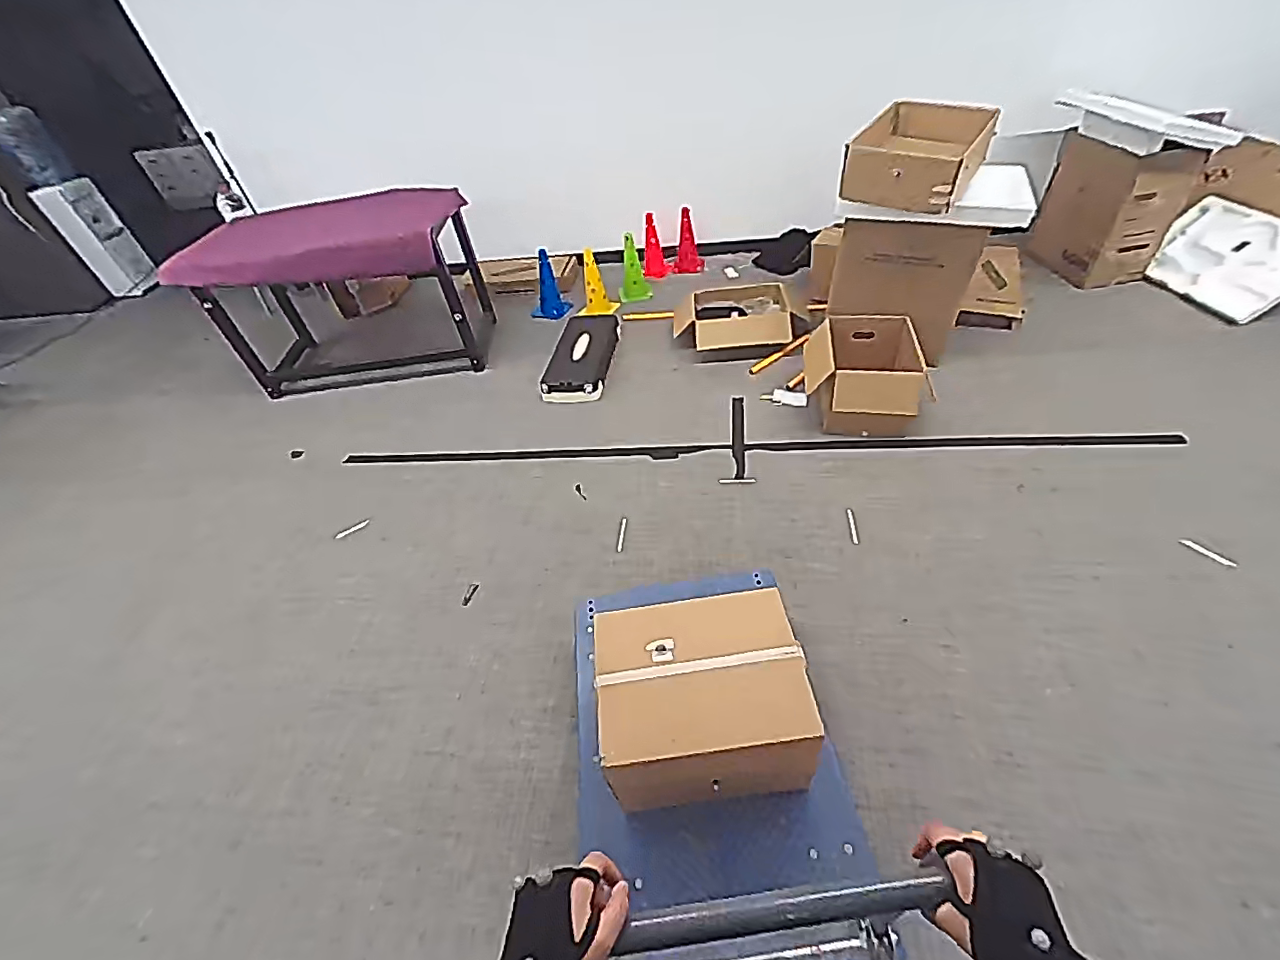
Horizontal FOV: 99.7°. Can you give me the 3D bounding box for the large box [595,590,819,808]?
[{"bbox_3d":[0.134,0.483,1.186,0.408,0.320,0.320,-10,44,1],"label":"large box"}]
